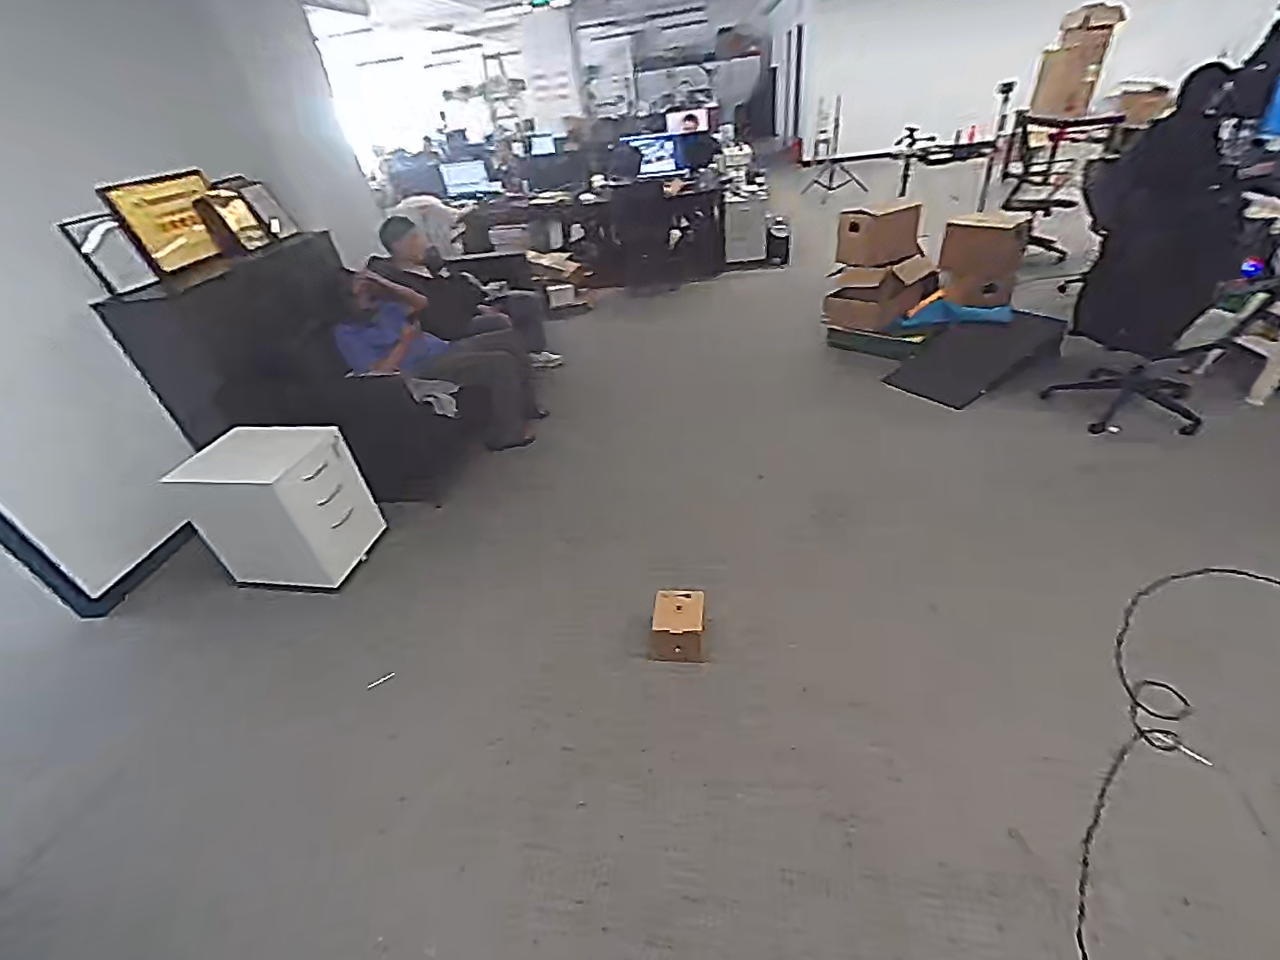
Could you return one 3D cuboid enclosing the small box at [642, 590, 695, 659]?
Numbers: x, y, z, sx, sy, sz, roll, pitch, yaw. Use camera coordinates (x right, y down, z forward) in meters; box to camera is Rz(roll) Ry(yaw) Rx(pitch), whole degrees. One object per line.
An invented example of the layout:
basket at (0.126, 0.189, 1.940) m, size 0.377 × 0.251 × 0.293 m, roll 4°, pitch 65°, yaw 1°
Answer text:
small box at (0.105, 0.506, 1.882) m, size 0.168 × 0.176 × 0.179 m, roll -2°, pitch 36°, yaw 8°
